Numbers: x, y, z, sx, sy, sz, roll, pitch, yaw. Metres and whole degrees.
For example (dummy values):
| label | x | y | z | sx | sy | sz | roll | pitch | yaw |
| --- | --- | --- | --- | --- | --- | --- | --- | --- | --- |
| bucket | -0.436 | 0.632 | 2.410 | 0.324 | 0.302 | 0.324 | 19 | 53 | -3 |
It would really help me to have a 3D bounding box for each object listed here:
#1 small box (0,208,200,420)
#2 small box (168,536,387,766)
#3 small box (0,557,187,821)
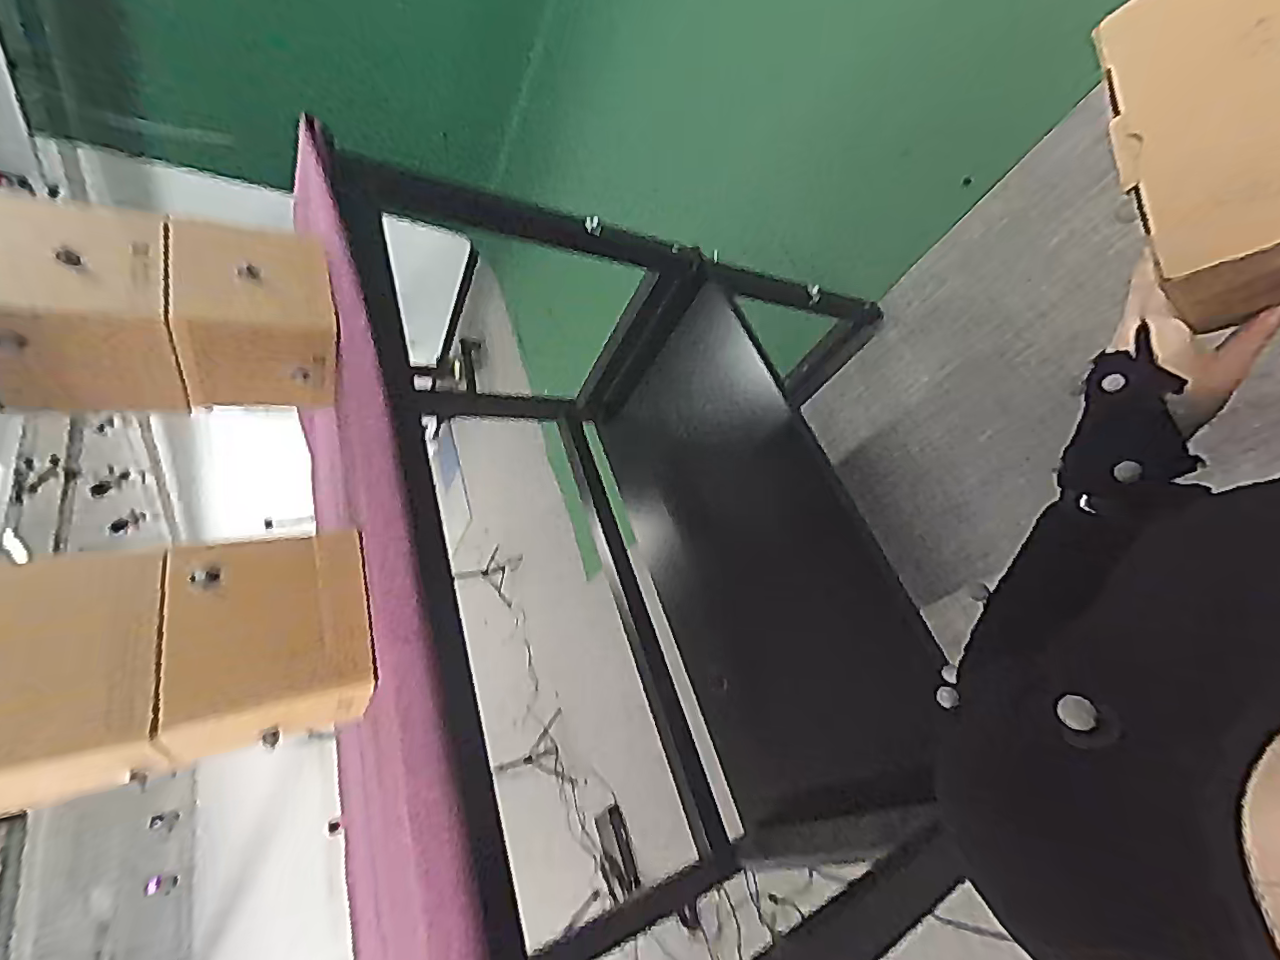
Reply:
| label | x | y | z | sx | sy | sz | roll | pitch | yaw |
| --- | --- | --- | --- | --- | --- | --- | --- | --- | --- |
| small box | -0.638 | -0.187 | 0.632 | 0.179 | 0.176 | 0.168 | -50 | 55 | 47 |
| small box | -0.374 | 0.175 | 0.575 | 0.168 | 0.176 | 0.179 | -49 | 53 | 46 |
| small box | -0.513 | 0.186 | 0.488 | 0.168 | 0.176 | 0.179 | -49 | 52 | 46 |
